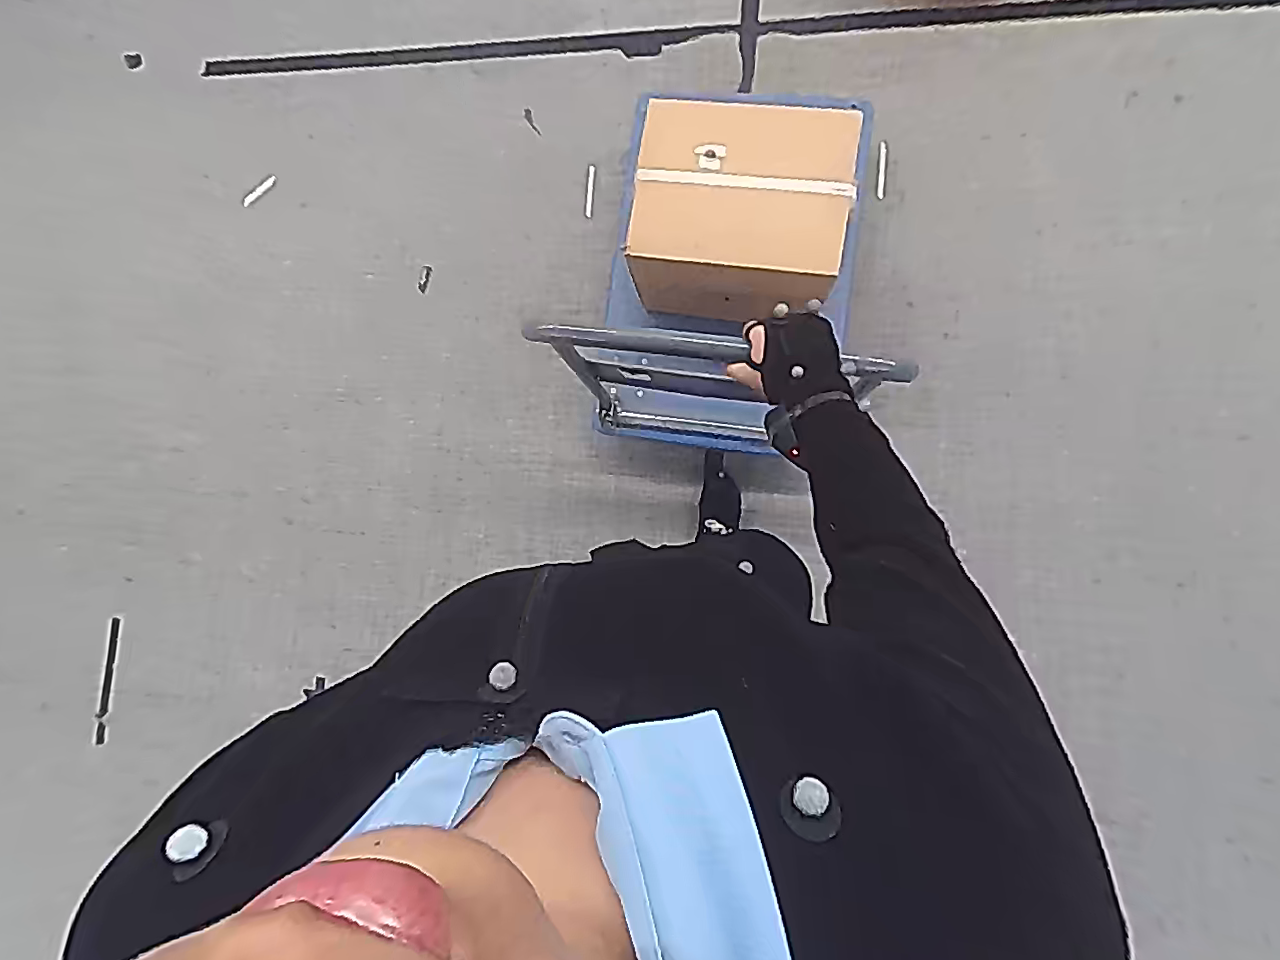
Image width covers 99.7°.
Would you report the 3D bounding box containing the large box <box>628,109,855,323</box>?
[{"bbox_3d":[0.214,-0.554,1.183,0.408,0.320,0.320,8,88,9],"label":"large box"}]
